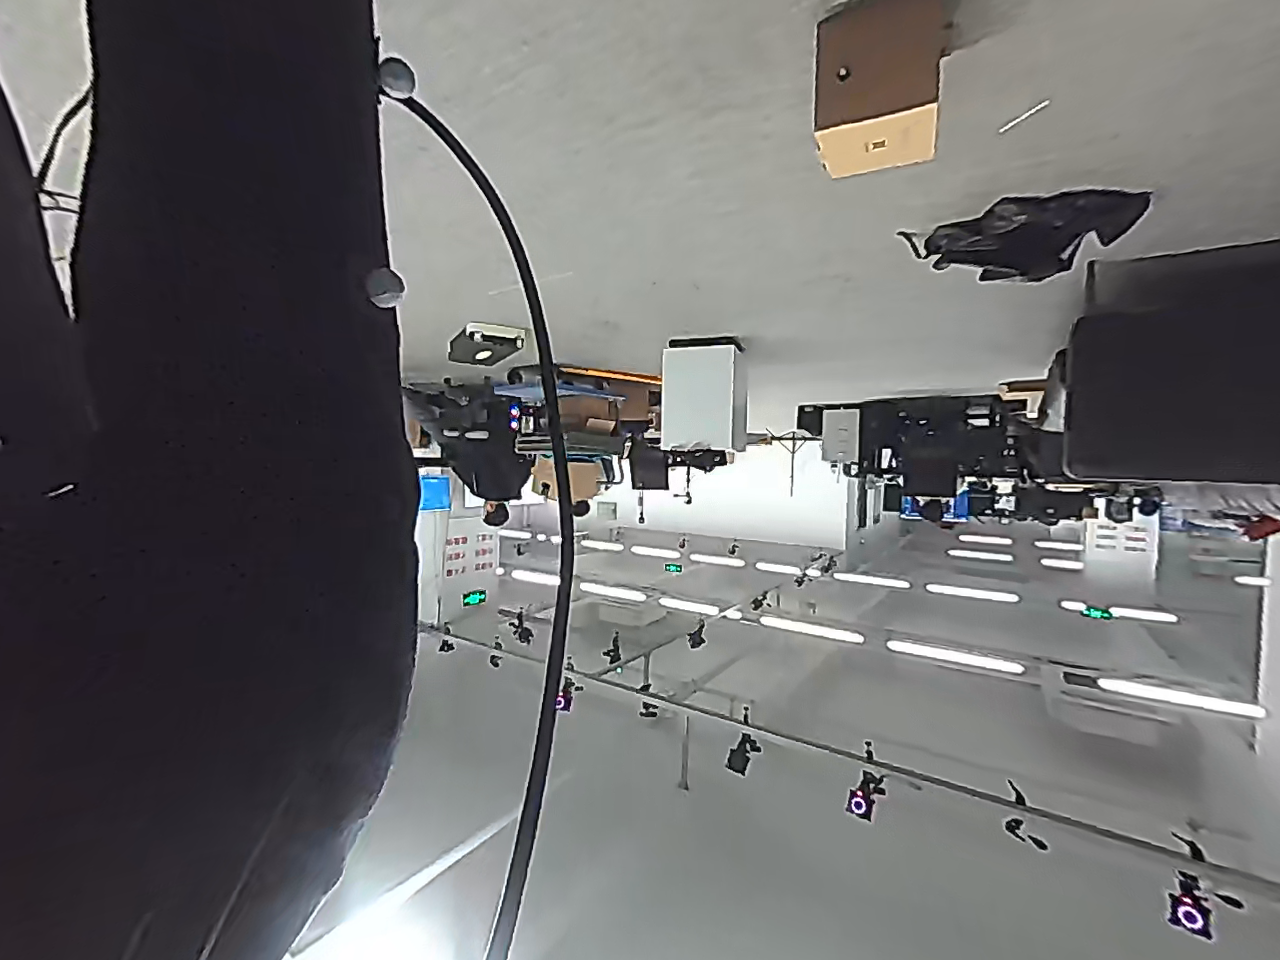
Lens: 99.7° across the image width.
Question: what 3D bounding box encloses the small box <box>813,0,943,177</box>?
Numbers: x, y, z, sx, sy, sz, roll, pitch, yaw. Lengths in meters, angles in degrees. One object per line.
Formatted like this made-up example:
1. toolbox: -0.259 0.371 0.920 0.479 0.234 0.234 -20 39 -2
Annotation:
1. small box: 0.383 -0.629 0.870 0.179 0.176 0.168 1 -176 27
